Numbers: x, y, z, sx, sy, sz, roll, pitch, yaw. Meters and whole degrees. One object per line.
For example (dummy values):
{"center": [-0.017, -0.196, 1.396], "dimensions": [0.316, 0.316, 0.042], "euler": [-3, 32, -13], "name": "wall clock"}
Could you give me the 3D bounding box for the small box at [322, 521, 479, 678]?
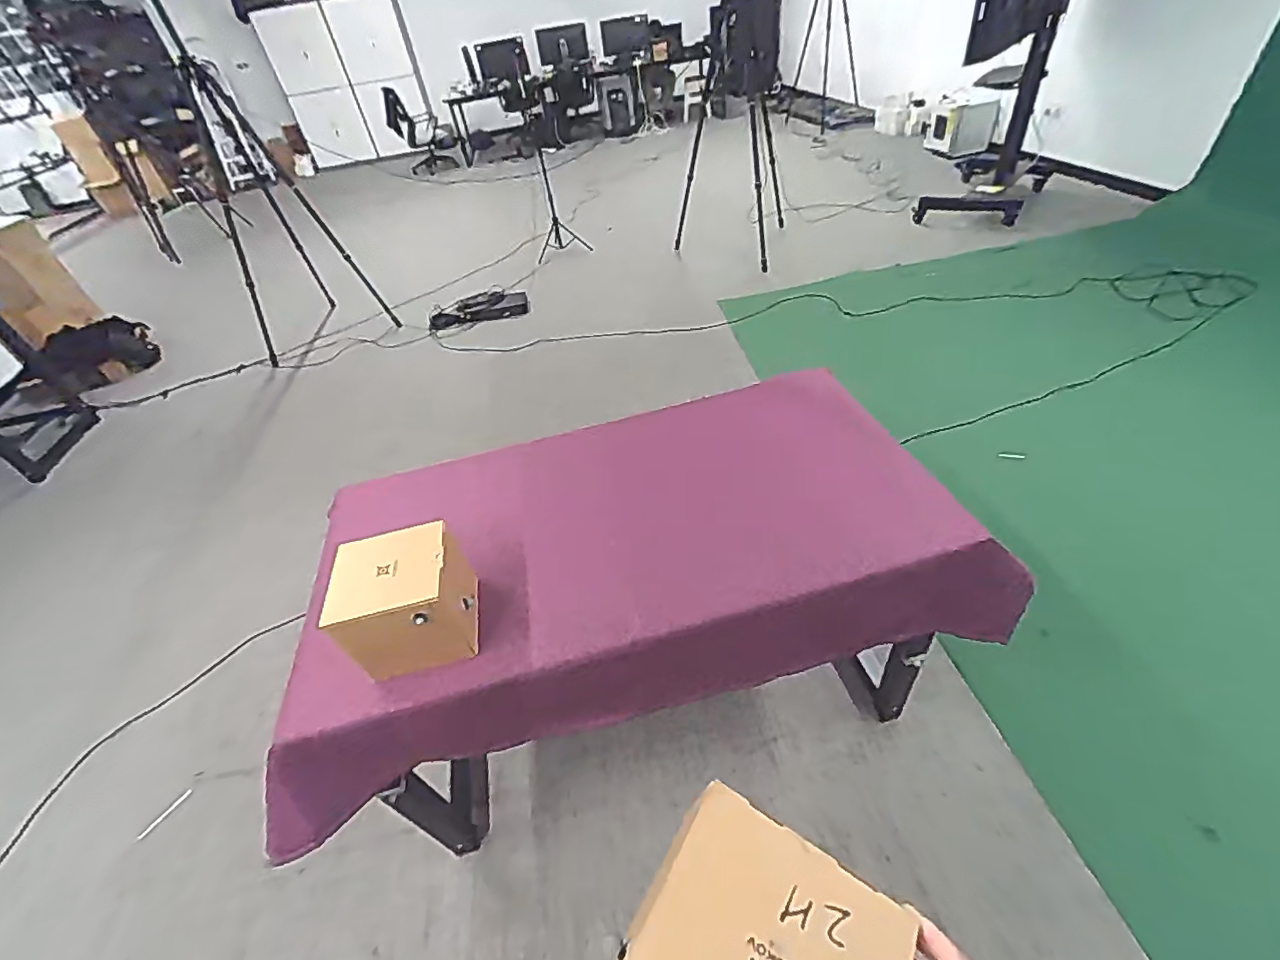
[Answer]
{"center": [-0.378, 0.199, 0.887], "dimensions": [0.179, 0.176, 0.168], "euler": [-14, 42, -6], "name": "small box"}
